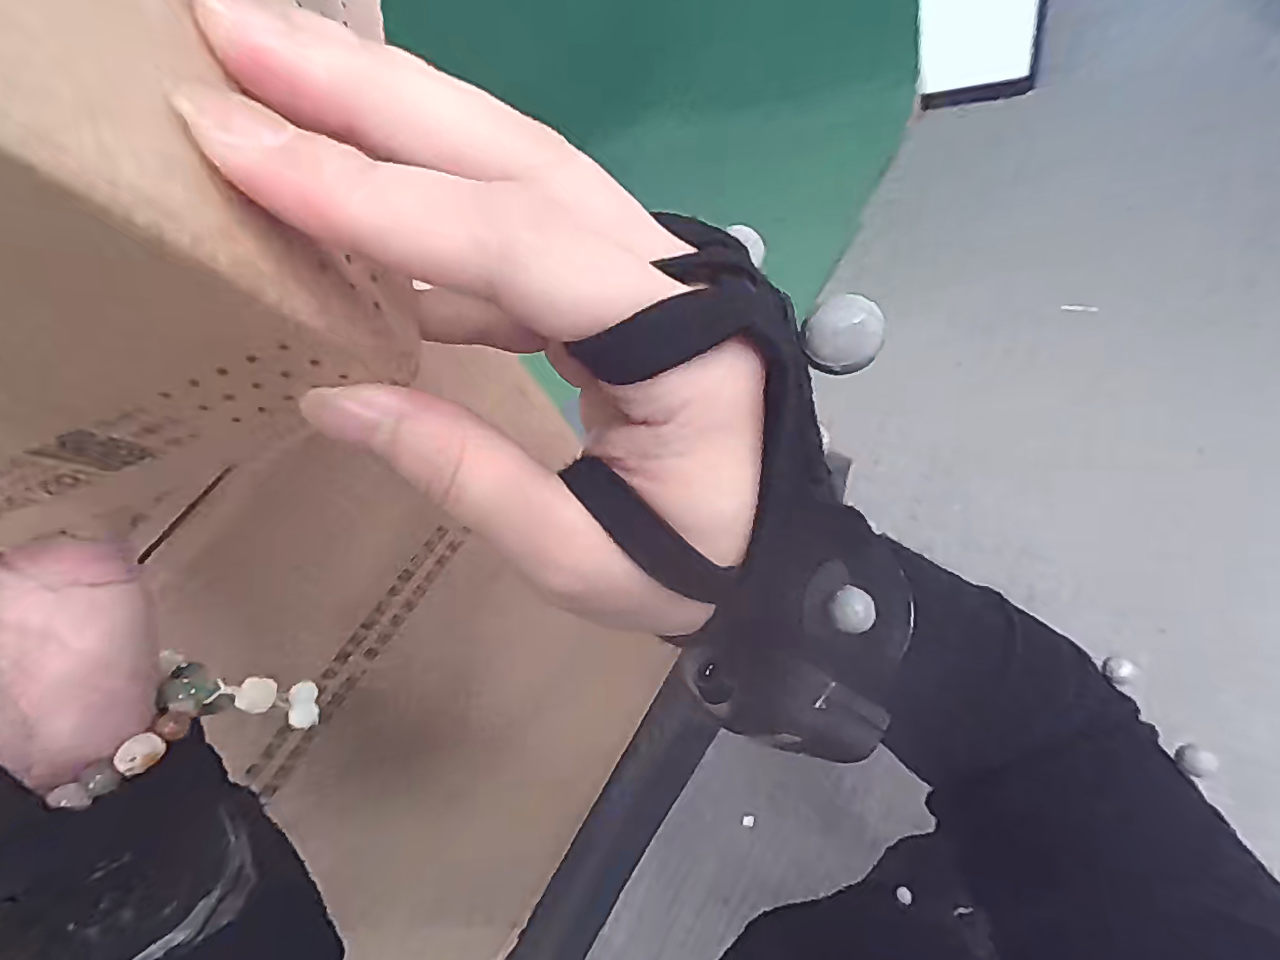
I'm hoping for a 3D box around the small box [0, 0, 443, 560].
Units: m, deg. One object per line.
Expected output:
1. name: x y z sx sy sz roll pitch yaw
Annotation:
1. small box: -0.154 -0.093 0.079 0.168 0.176 0.179 -18 73 12
